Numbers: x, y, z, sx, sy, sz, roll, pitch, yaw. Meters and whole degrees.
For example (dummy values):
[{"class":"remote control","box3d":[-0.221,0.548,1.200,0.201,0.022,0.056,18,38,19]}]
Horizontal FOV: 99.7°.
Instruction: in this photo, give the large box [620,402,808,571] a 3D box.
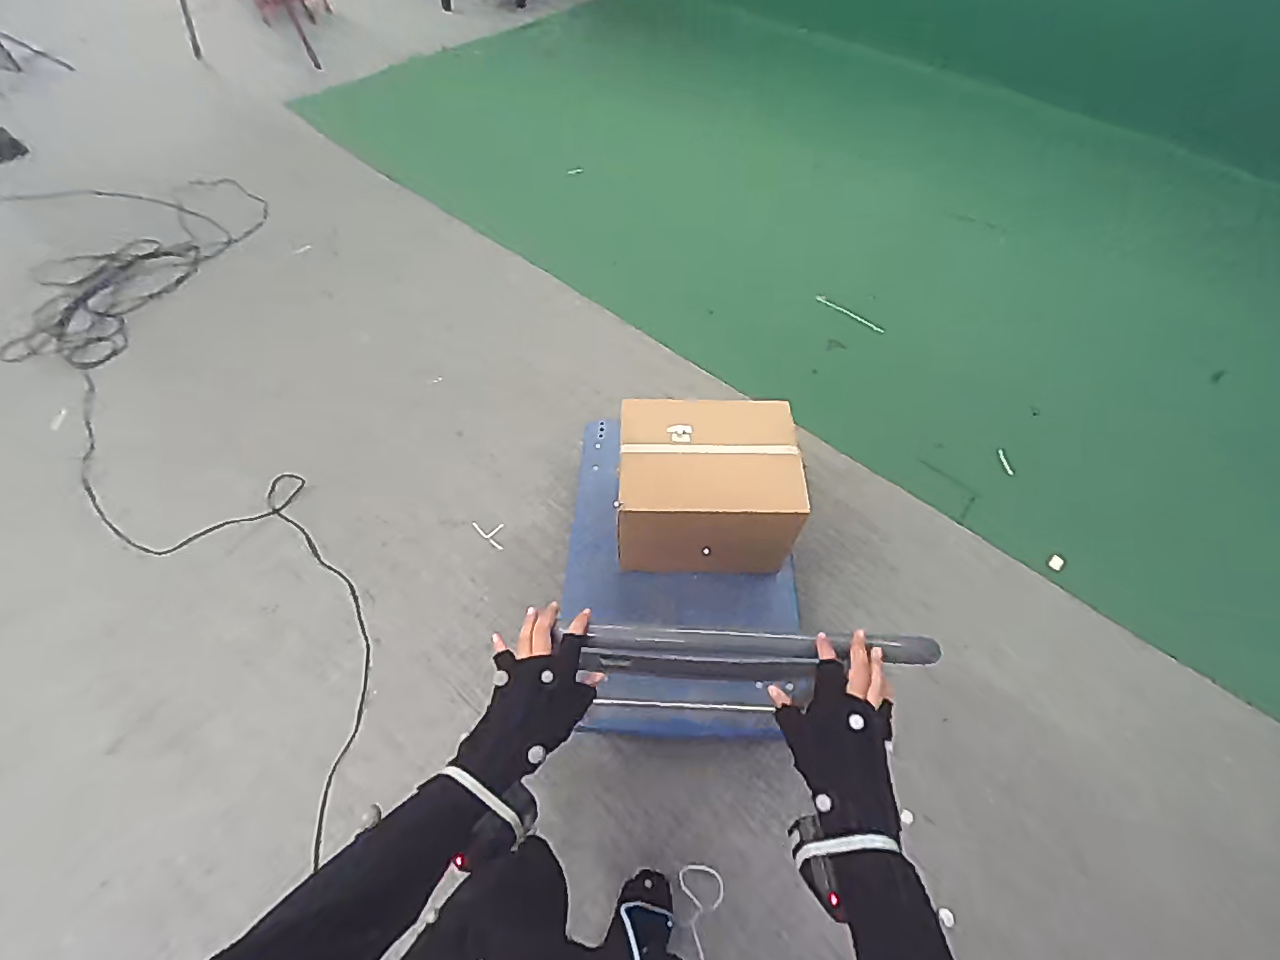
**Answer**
[{"class":"large box","box3d":[0.155,0.025,1.344,0.408,0.320,0.320,-1,56,-1]}]
